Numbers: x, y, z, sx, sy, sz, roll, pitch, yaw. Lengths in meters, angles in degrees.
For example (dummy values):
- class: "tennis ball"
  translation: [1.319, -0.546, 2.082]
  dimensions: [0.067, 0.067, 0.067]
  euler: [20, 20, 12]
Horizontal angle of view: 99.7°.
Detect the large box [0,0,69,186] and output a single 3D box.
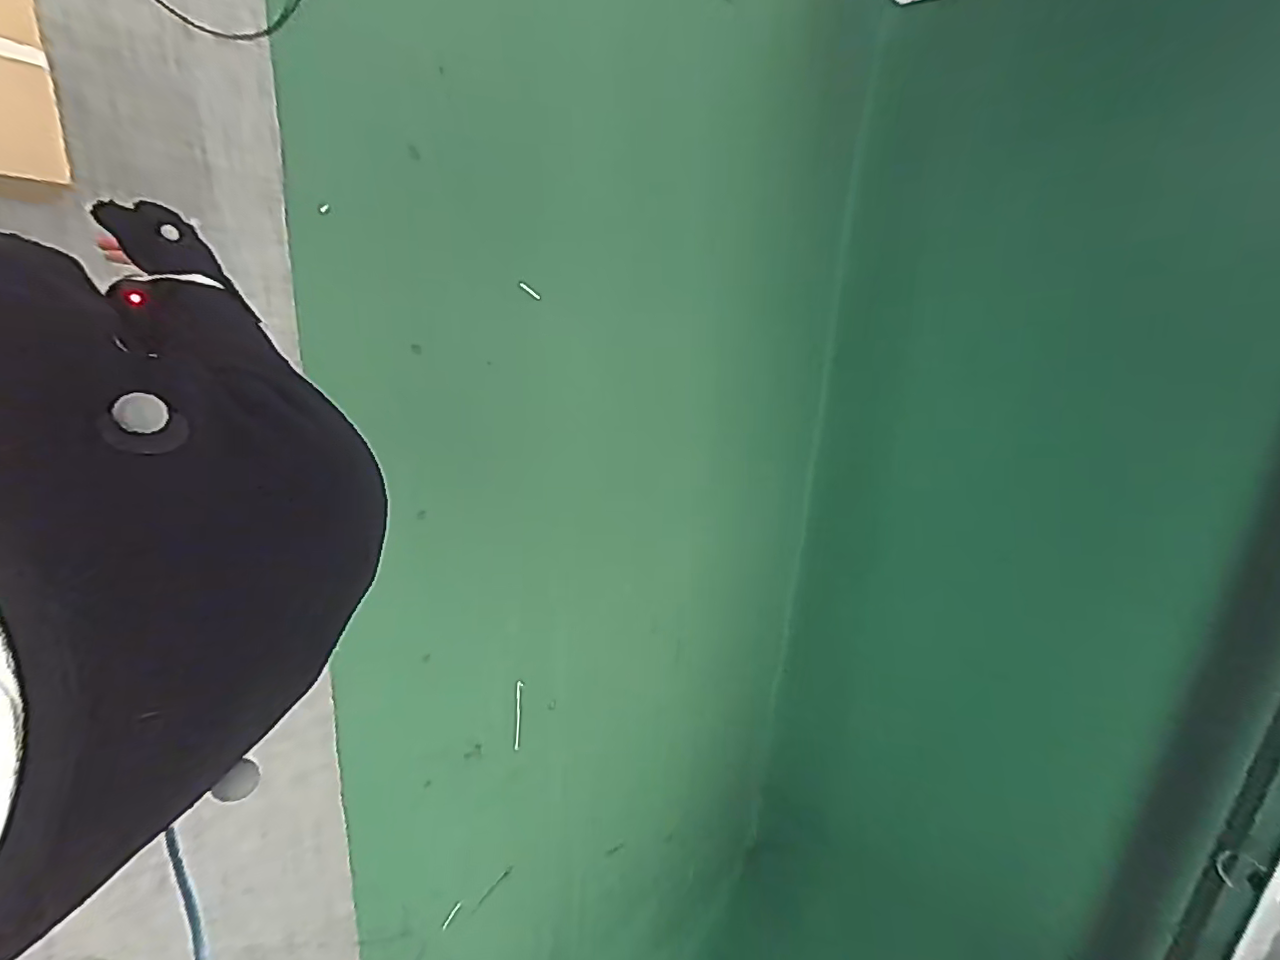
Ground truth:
- class: "large box"
  translation: [-1.063, -0.599, 0.690]
  dimensions: [0.408, 0.320, 0.320]
  euler: [-14, 116, -47]
